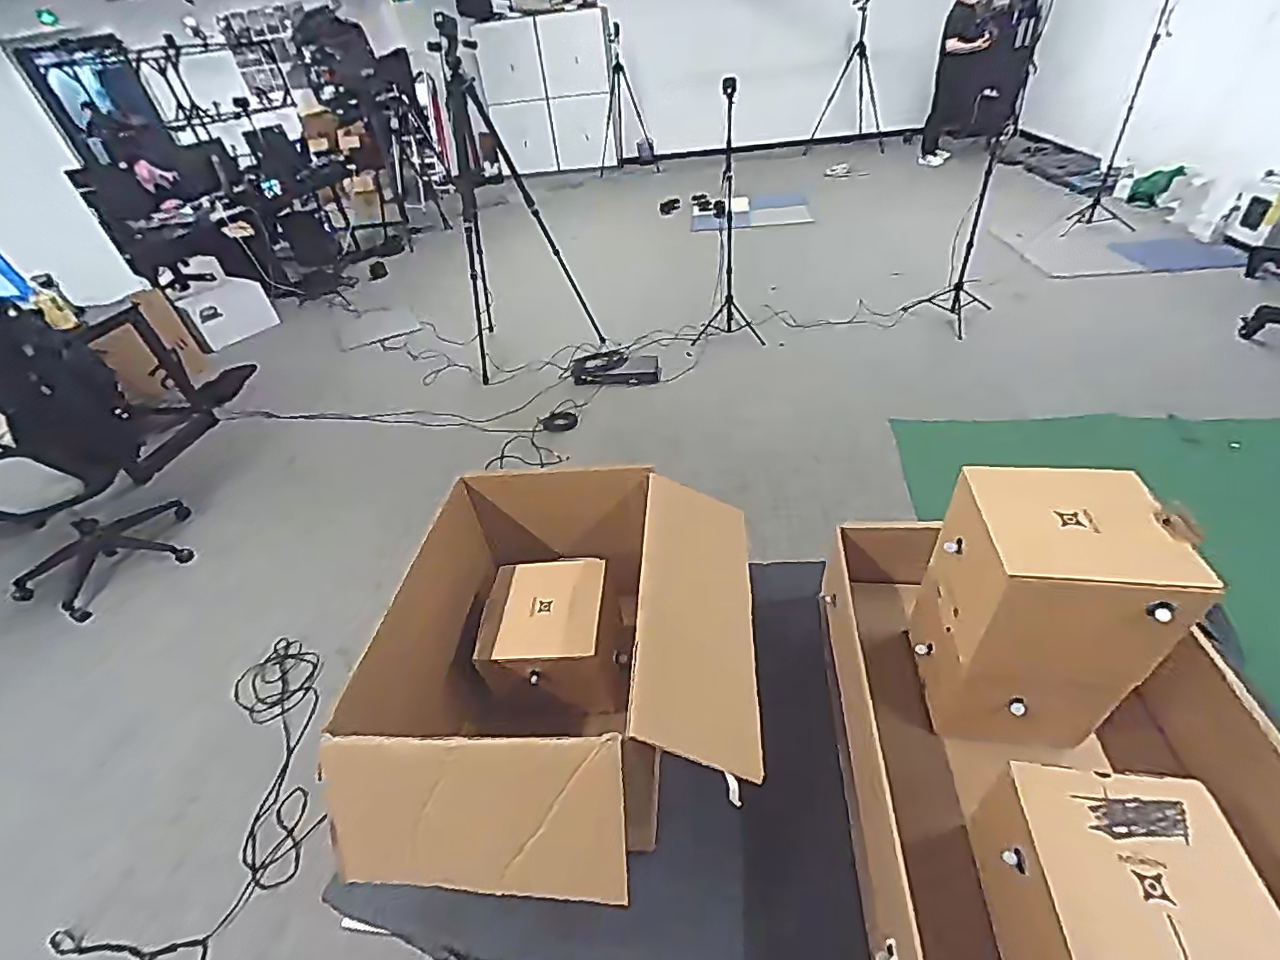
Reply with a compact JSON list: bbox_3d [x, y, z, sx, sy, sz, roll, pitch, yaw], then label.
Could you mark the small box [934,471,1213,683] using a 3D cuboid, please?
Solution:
[{"bbox_3d":[0.450,0.108,0.608,0.179,0.176,0.168,2,42,11],"label":"small box"}]
